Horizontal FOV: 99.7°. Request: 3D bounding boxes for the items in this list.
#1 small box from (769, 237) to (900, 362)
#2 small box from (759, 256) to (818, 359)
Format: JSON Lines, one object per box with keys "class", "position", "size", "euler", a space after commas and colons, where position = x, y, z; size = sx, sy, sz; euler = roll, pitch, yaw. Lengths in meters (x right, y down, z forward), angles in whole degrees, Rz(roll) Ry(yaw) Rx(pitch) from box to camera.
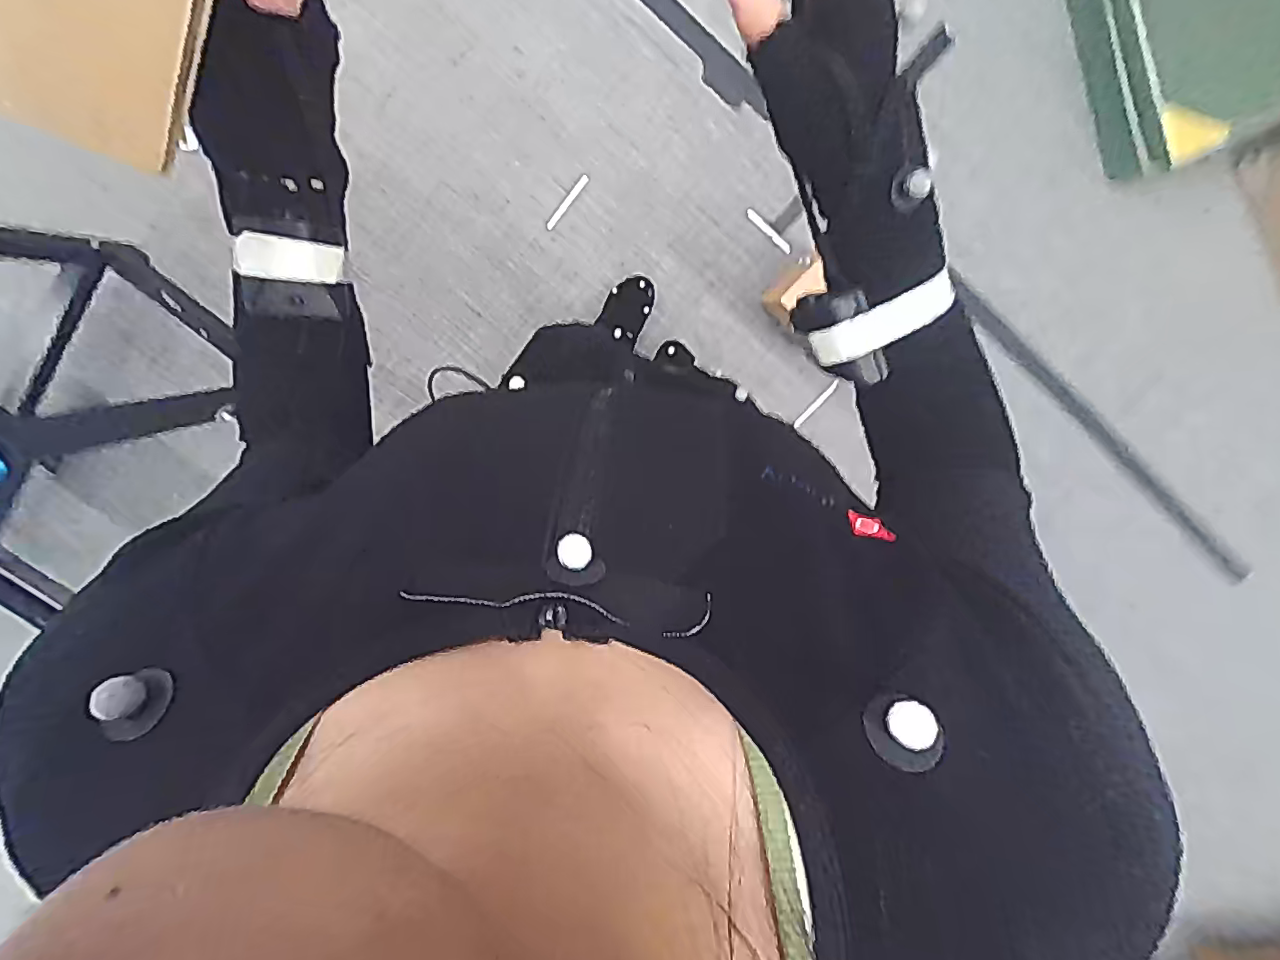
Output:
{"class": "small box", "position": [0.391, -0.370, 1.126], "size": [0.168, 0.176, 0.179], "euler": [44, 105, -9]}
{"class": "small box", "position": [0.409, -0.413, 1.282], "size": [0.179, 0.176, 0.168], "euler": [44, 103, -11]}
